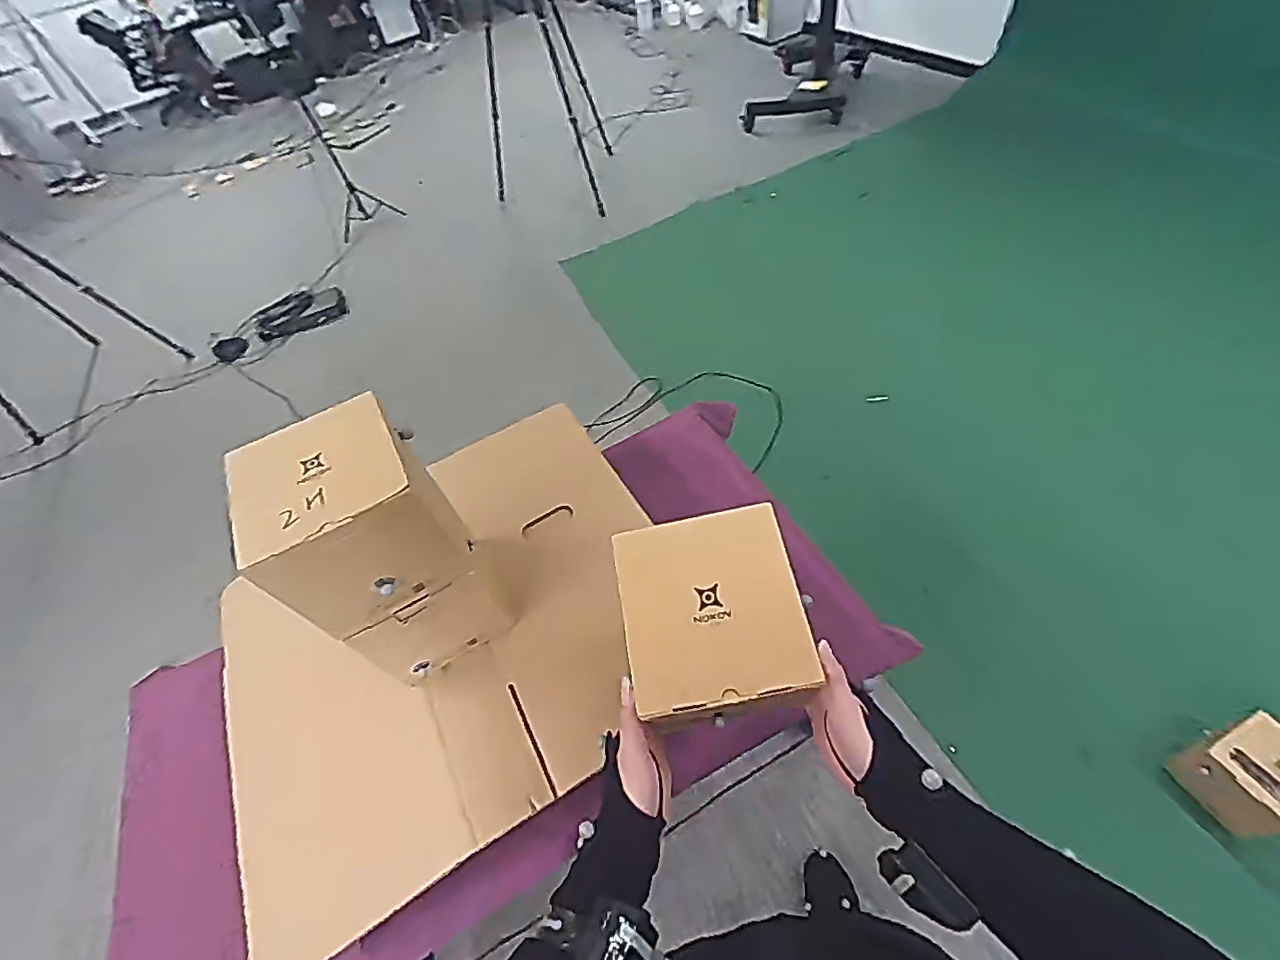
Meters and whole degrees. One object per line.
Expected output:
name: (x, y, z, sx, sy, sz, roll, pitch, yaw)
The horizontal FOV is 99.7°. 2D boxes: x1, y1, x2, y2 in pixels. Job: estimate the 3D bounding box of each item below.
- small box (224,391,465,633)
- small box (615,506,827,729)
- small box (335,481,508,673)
small box: (-0.323, 0.038, 0.610, 0.168, 0.176, 0.179, -28, 54, -13)
small box: (0.075, 0.151, 0.564, 0.168, 0.176, 0.179, -11, 63, 3)
small box: (-0.302, 0.139, 0.737, 0.168, 0.176, 0.179, -28, 53, -14)
